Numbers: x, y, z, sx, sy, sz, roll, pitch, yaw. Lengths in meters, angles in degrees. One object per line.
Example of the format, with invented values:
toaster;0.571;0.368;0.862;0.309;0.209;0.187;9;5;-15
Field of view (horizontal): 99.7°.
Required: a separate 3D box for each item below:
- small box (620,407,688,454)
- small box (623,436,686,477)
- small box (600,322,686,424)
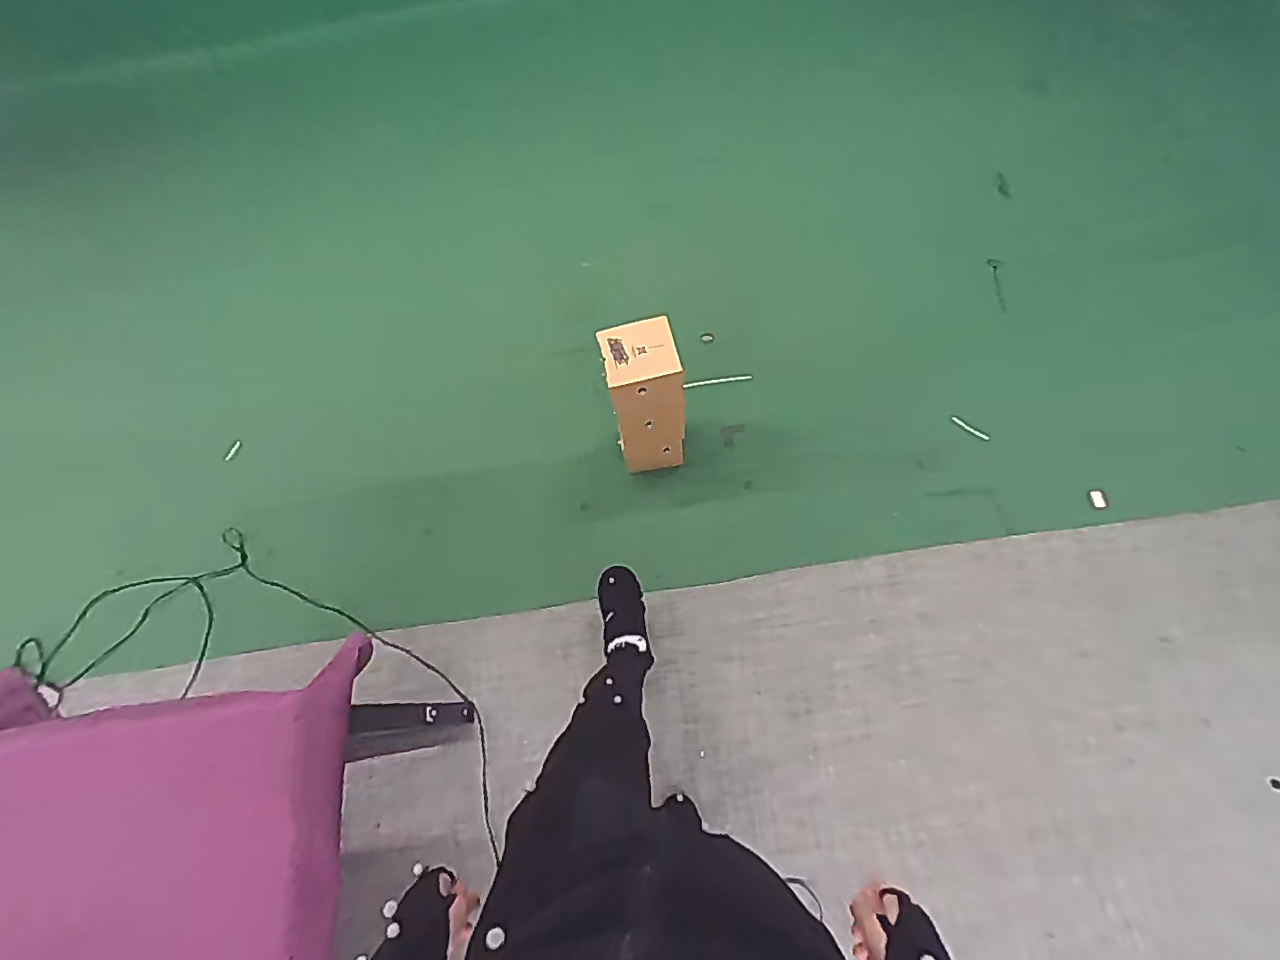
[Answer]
small box;0.032;-0.191;1.486;0.179;0.176;0.168;-12;66;2
small box;0.041;-0.123;1.634;0.179;0.176;0.168;-9;66;2
small box;0.012;-0.256;1.337;0.179;0.176;0.168;-13;67;0
